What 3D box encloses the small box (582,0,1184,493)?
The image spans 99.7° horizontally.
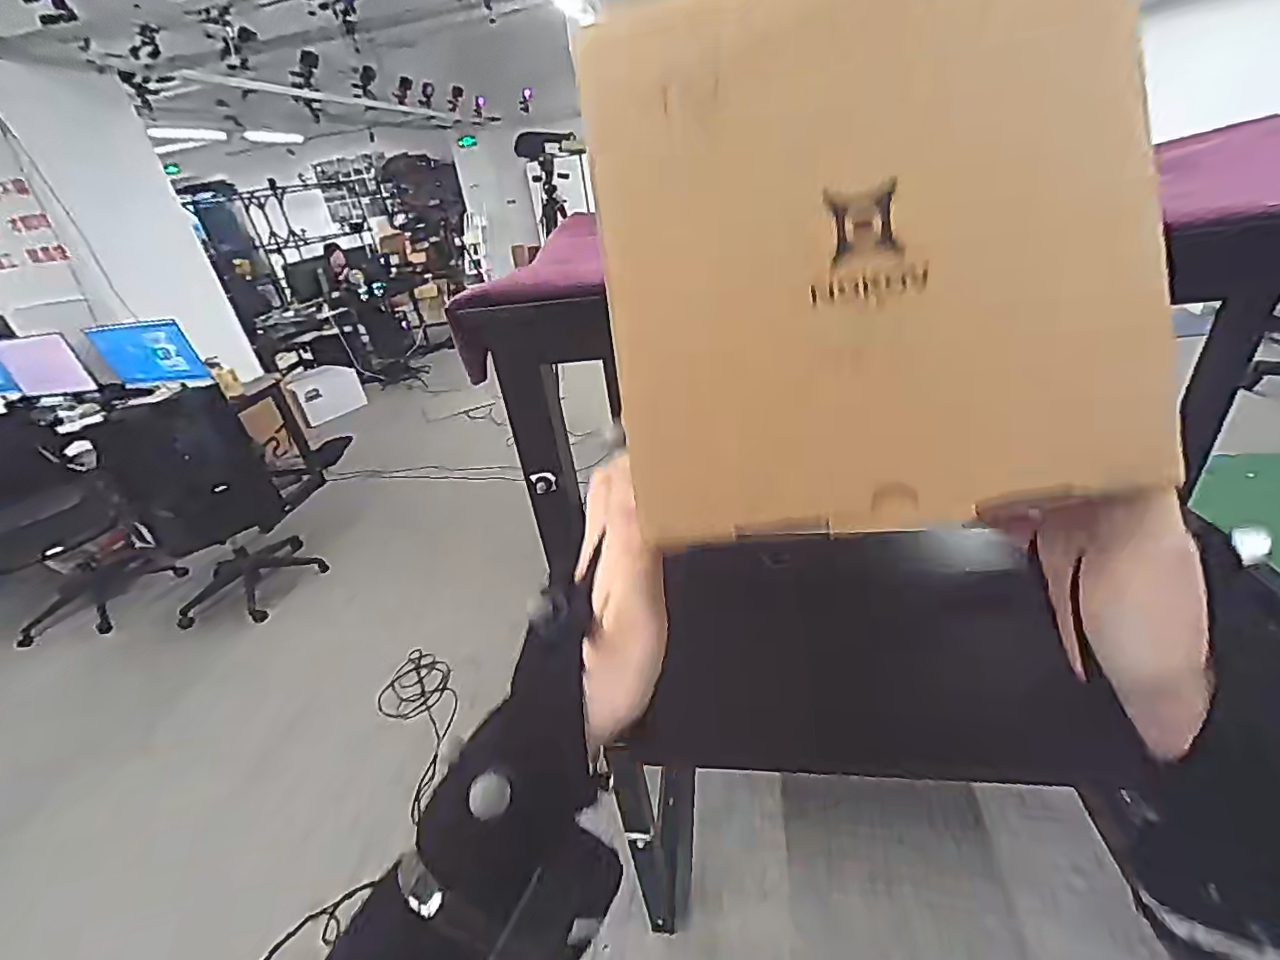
[{"bbox_3d":[0.078,-0.094,0.246,0.168,0.179,0.176,-8,3,7],"label":"small box"}]
